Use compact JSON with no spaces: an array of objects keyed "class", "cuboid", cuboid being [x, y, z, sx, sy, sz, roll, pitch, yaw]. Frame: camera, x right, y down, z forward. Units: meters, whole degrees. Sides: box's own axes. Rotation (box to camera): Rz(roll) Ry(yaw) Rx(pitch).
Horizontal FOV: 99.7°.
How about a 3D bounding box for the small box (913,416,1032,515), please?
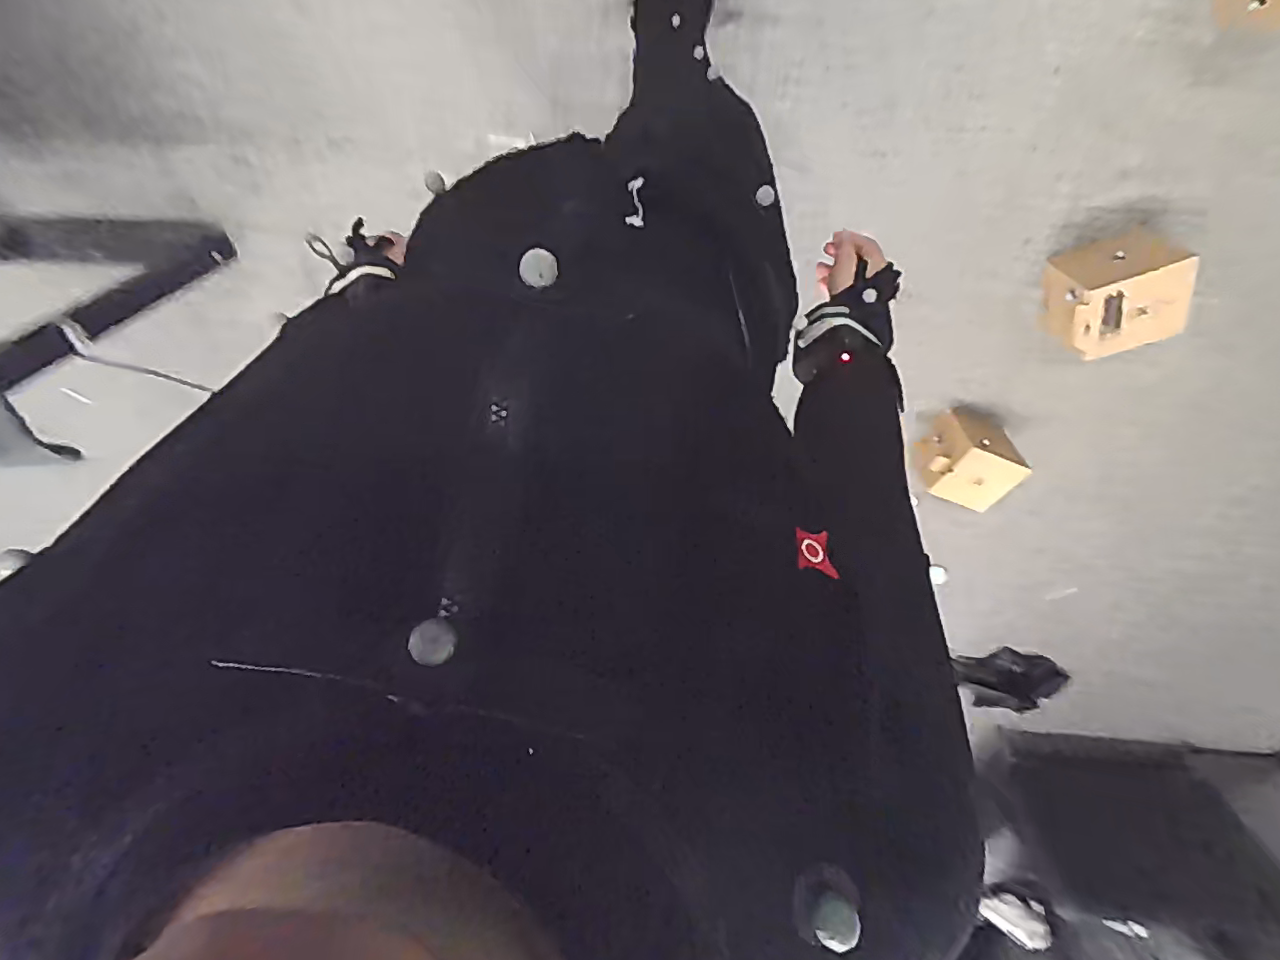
[{"class":"small box","cuboid":[0.852,-0.042,1.404,0.179,0.176,0.168,19,131,-10]}]
